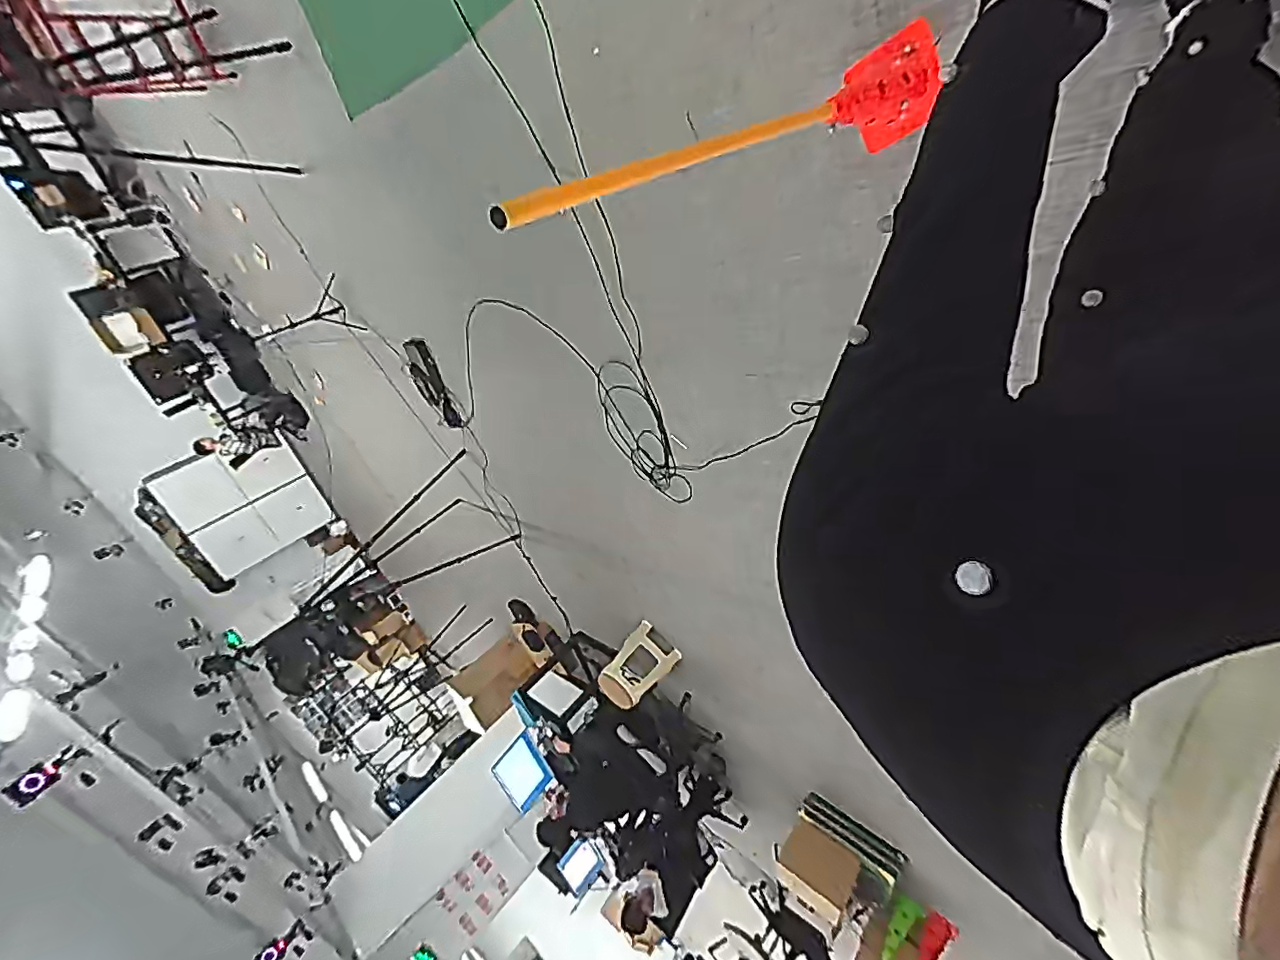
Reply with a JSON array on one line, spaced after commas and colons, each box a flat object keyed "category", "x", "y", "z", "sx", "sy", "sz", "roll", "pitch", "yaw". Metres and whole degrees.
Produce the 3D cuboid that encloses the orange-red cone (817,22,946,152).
[{"category": "orange-red cone", "x": 0.479, "y": -0.814, "z": 1.162, "sx": 0.199, "sy": 0.360, "sz": 0.198, "roll": -5, "pitch": 117, "yaw": 52}]
